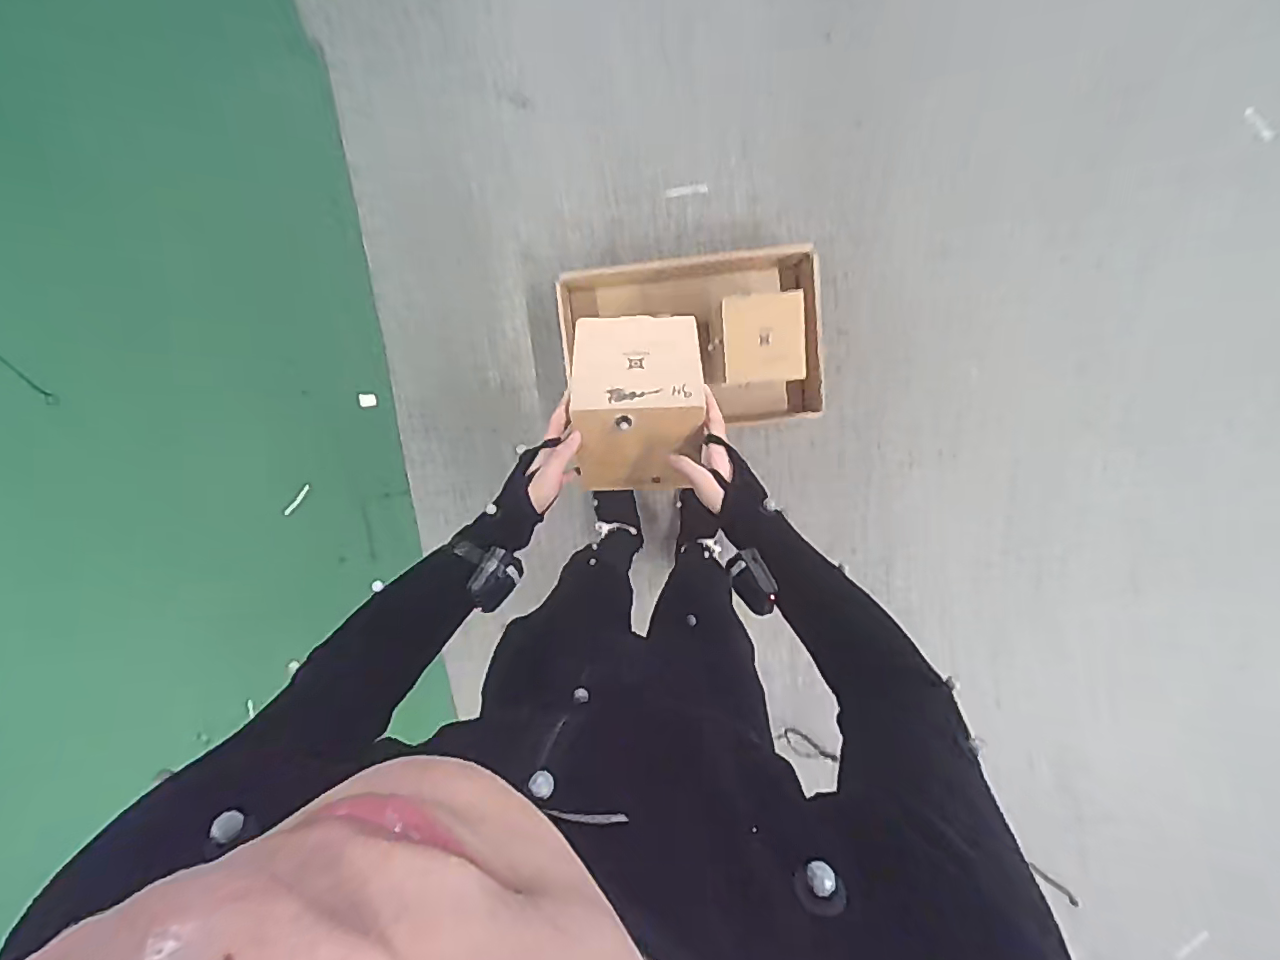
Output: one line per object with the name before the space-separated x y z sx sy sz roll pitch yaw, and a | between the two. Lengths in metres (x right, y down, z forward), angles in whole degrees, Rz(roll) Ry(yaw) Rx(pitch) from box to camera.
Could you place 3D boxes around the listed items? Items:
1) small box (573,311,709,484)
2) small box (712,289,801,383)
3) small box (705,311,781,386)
small box | 0.000 -0.113 0.755 0.168 0.179 0.176 -2 143 0
small box | 0.251 -0.309 1.190 0.168 0.176 0.179 -4 100 4
small box | 0.258 -0.333 1.352 0.168 0.176 0.179 -7 99 3
